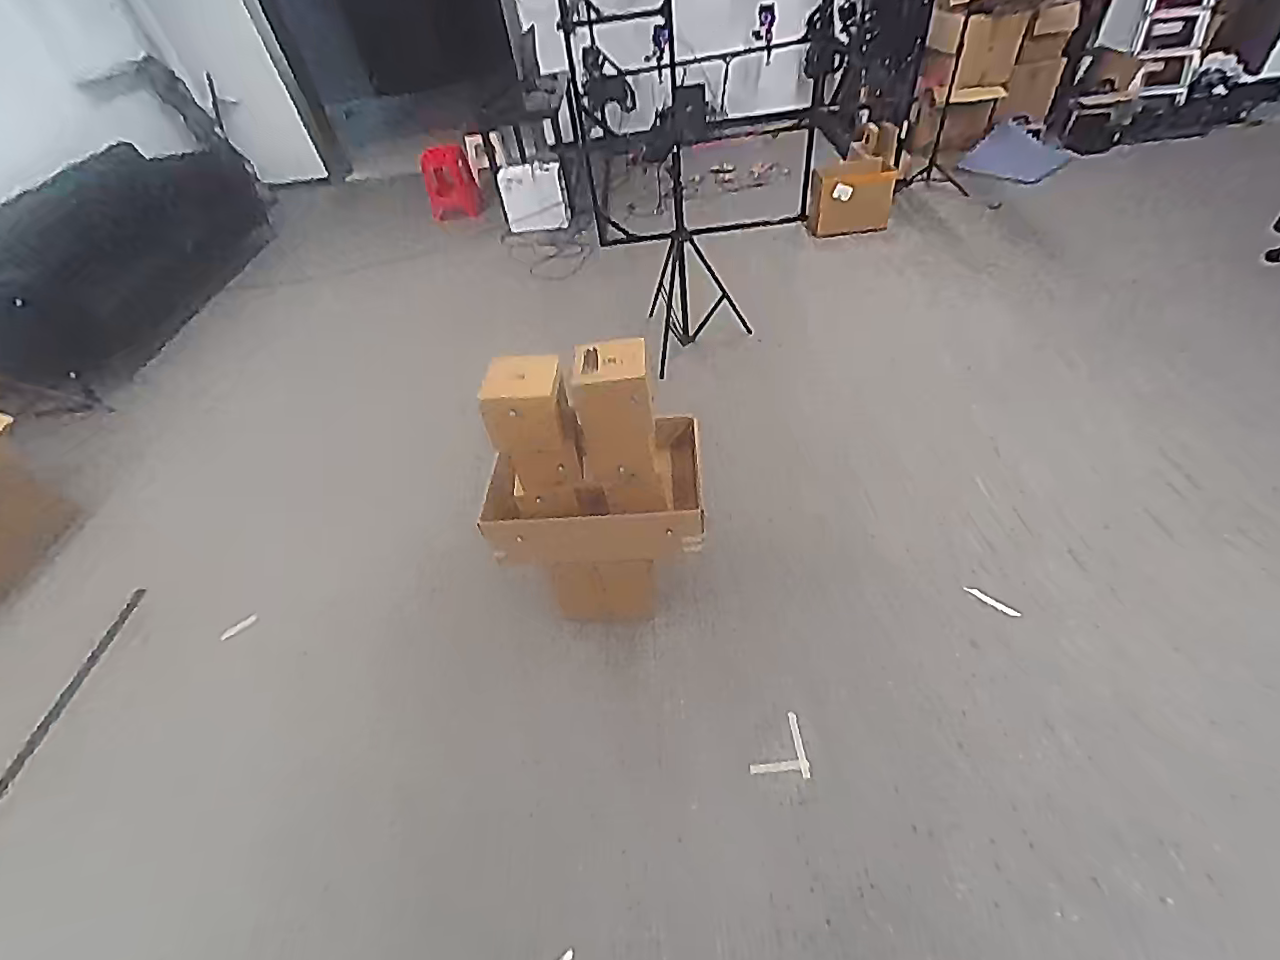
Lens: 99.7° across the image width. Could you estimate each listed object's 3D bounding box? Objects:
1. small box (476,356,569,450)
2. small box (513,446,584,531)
[{"bbox_3d":[-0.279,-0.187,1.336,0.179,0.176,0.168,-2,47,6],"label":"small box"},{"bbox_3d":[-0.261,0.026,1.581,0.168,0.176,0.179,-8,46,2],"label":"small box"}]
